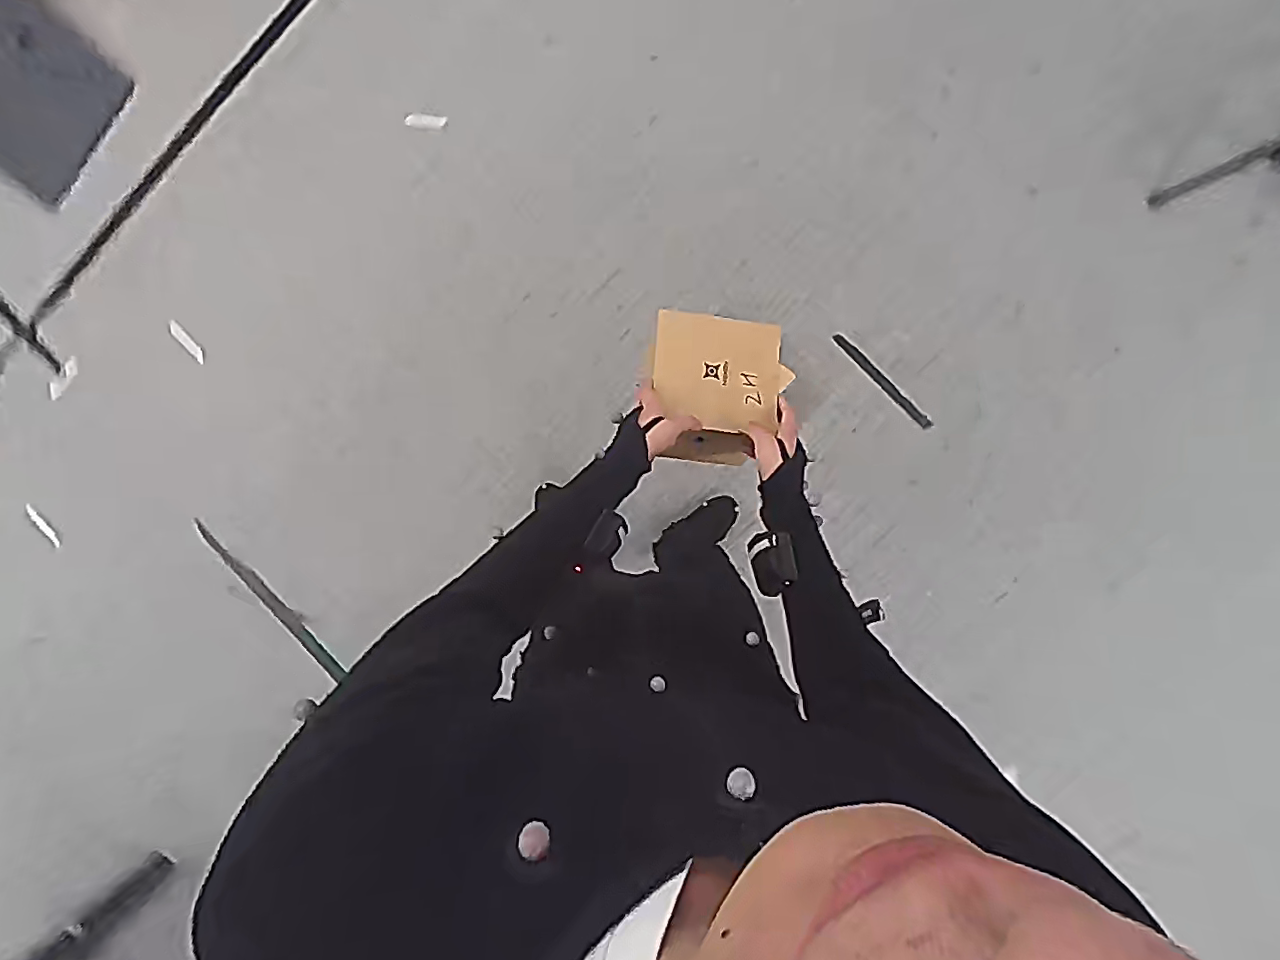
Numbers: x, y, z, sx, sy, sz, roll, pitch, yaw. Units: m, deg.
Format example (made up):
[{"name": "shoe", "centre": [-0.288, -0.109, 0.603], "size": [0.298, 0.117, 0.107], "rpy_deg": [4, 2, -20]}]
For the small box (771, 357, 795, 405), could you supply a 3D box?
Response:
[{"name": "small box", "centre": [0.294, -0.260, 1.488], "size": [0.168, 0.176, 0.179], "rpy_deg": [44, 96, 1]}]

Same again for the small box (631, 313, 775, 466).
[{"name": "small box", "centre": [0.085, -0.123, 0.802], "size": [0.179, 0.176, 0.168], "rpy_deg": [6, 78, -6]}]
